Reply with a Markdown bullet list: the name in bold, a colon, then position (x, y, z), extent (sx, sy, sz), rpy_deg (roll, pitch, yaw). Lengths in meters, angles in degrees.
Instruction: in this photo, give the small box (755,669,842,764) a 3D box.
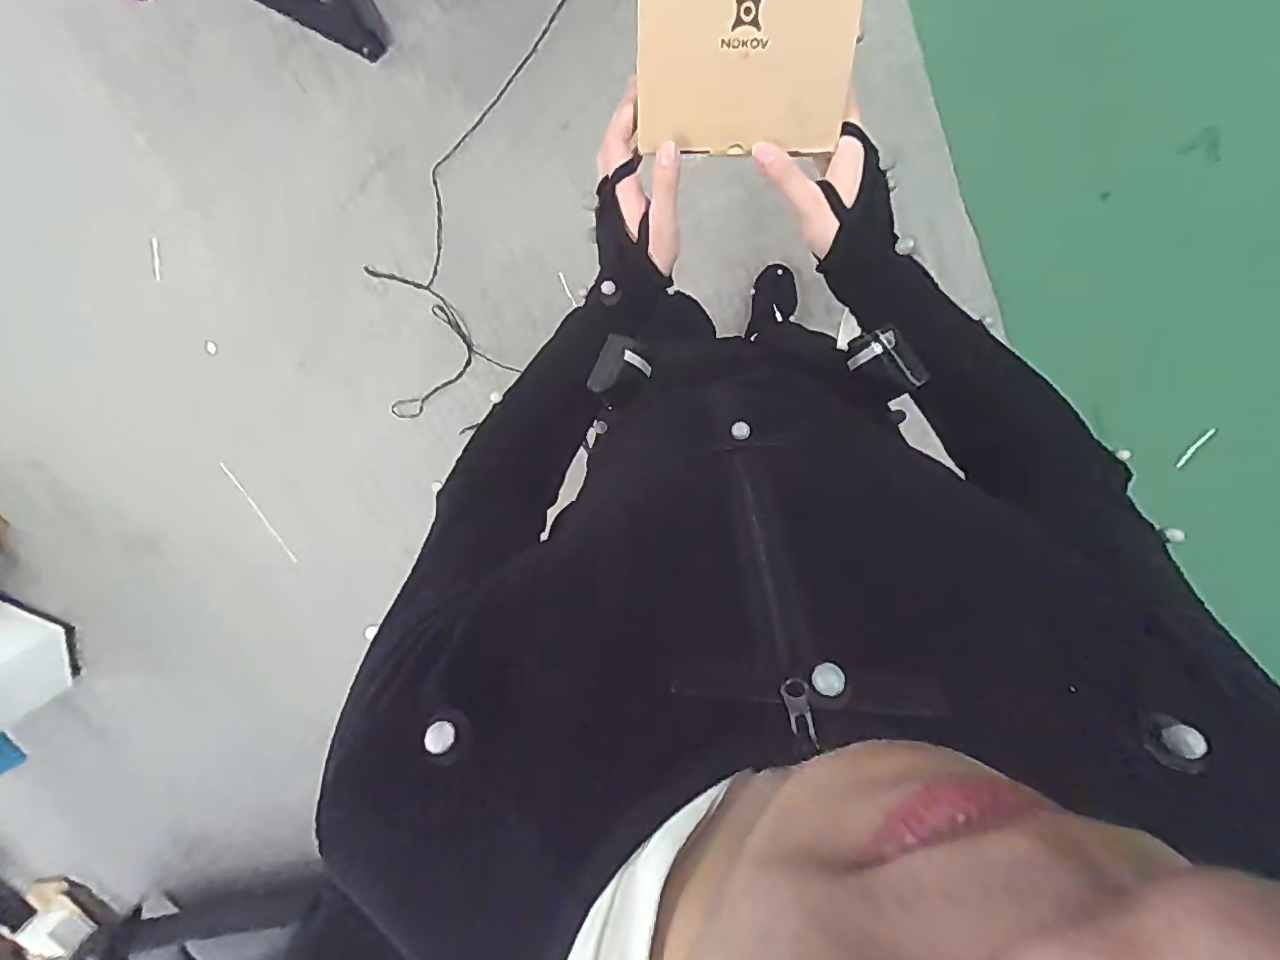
- **small box**: position (0.391, 0.604, 1.343), extent (0.168, 0.176, 0.179), rpy_deg (-18, 108, 18)
